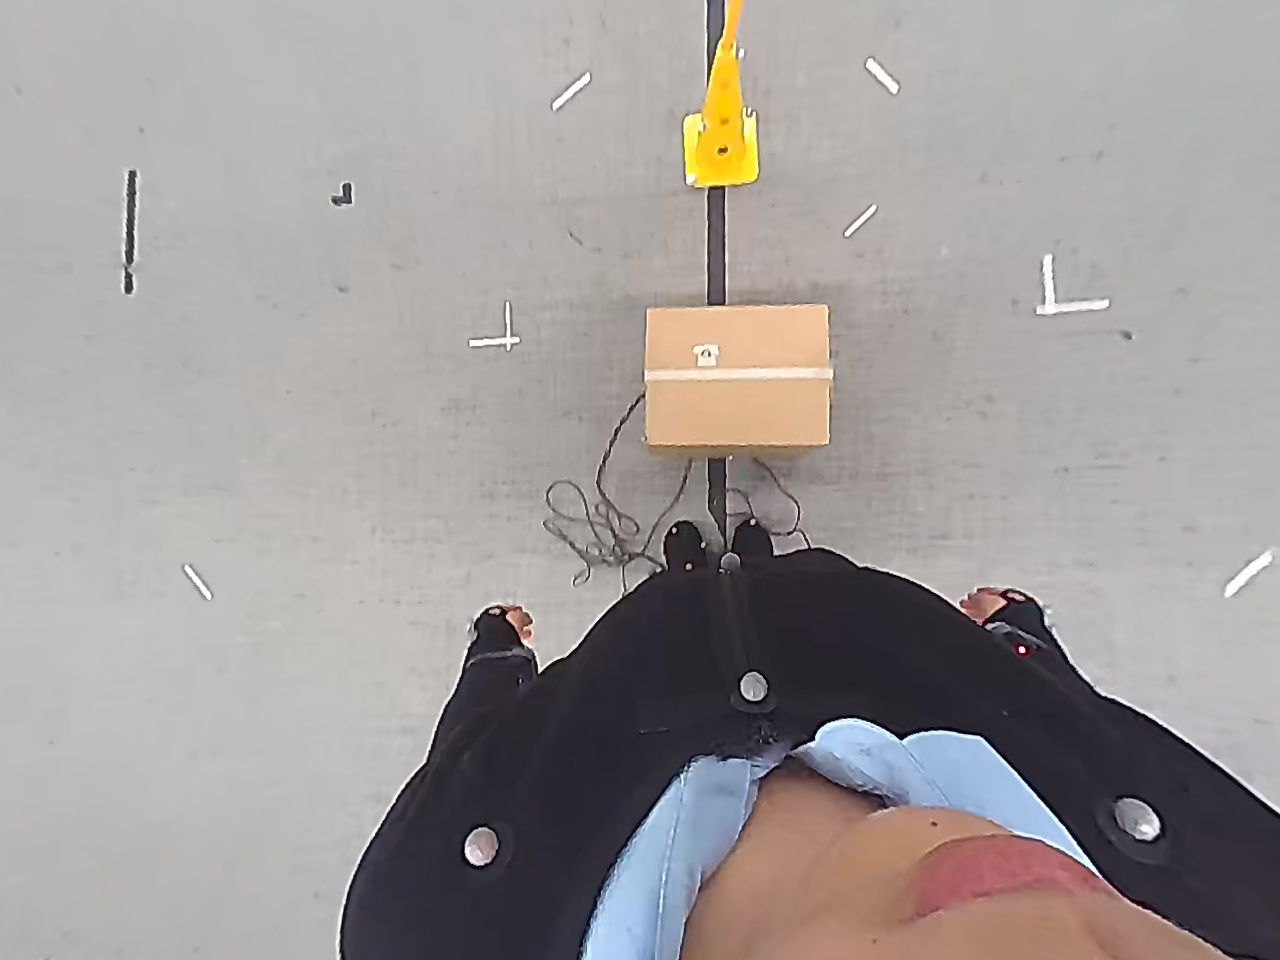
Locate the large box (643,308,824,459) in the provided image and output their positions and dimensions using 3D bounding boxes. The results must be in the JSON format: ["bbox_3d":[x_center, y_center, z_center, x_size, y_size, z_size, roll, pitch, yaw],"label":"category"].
[{"bbox_3d":[0.223,-0.220,1.361,0.408,0.320,0.320,0,86,6],"label":"large box"}]
